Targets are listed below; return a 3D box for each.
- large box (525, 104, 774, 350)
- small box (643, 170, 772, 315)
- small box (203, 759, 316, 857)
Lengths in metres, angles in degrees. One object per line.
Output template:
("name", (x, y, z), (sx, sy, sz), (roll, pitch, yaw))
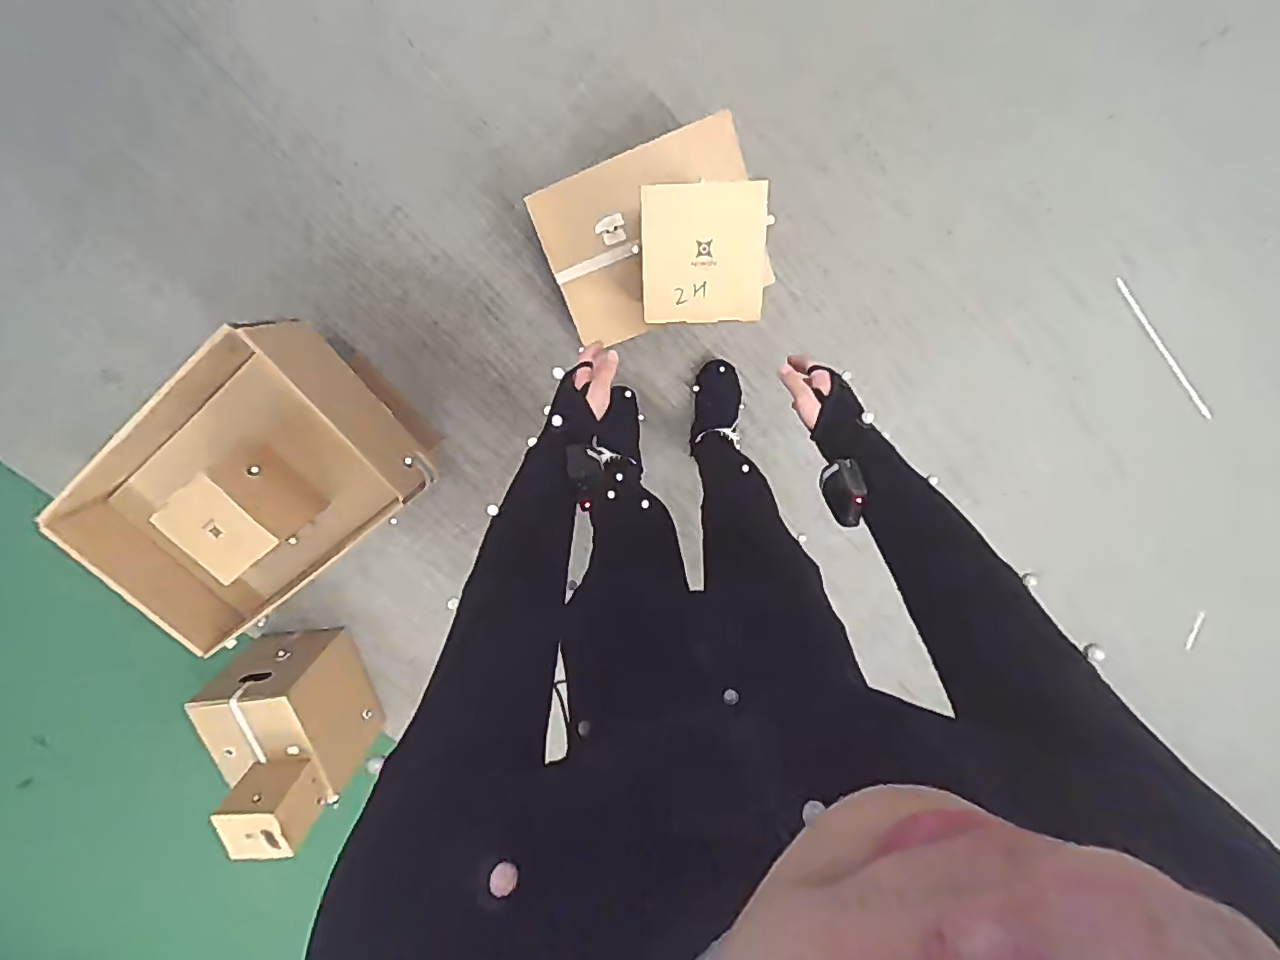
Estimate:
("large box", (0.028, -0.518, 1.158), (0.408, 0.320, 0.320), (-18, 110, 10))
("small box", (0.088, -0.339, 0.785), (0.168, 0.176, 0.179), (0, 114, 2))
("small box", (-1.025, 0.891, 1.481), (0.179, 0.176, 0.168), (-4, 111, 3))
